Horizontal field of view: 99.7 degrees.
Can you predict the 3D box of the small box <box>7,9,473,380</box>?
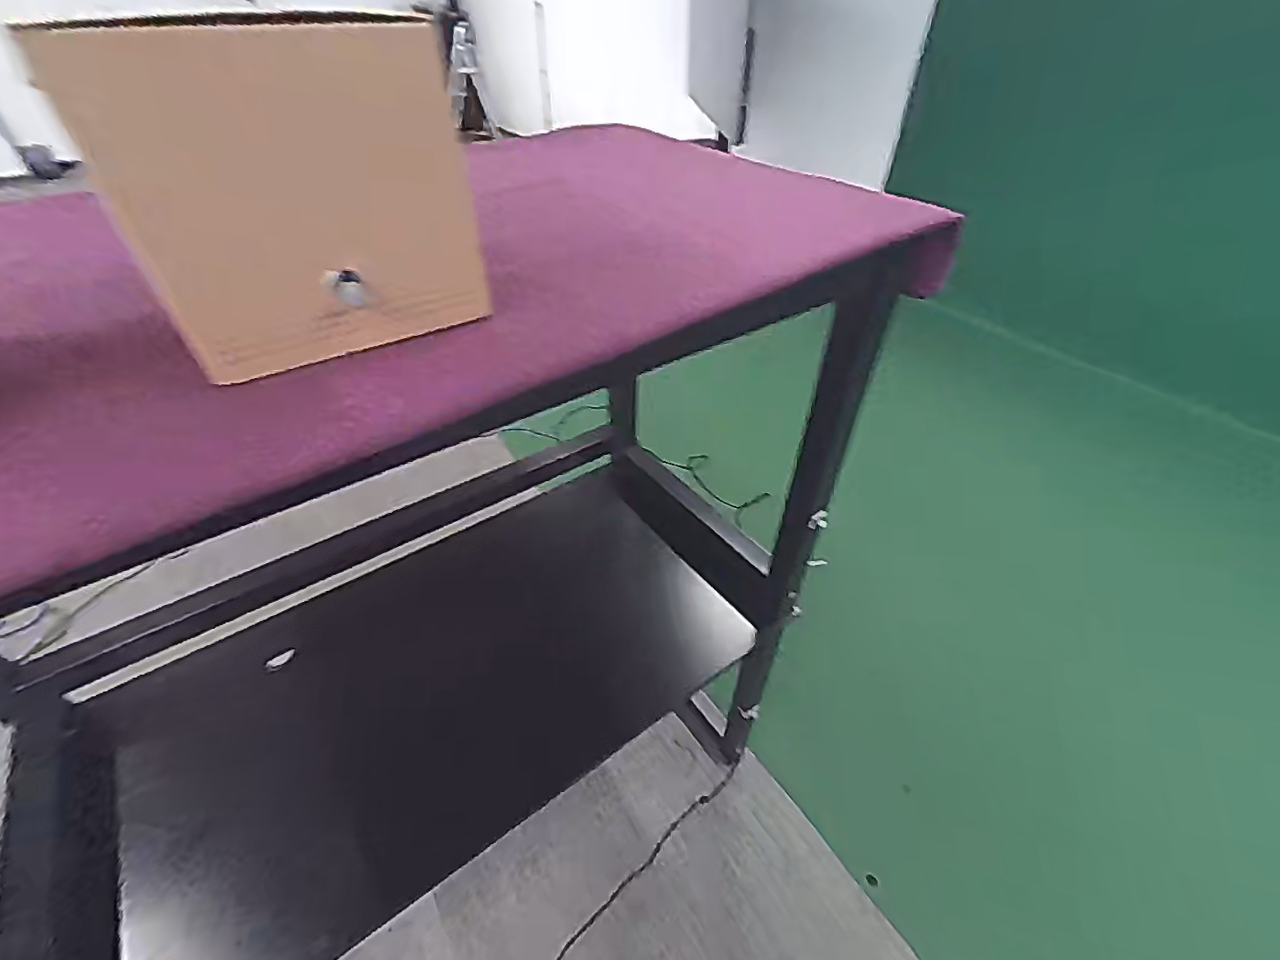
[{"bbox_3d":[-0.223,-0.189,0.350,0.179,0.176,0.168,-25,46,-26],"label":"small box"}]
